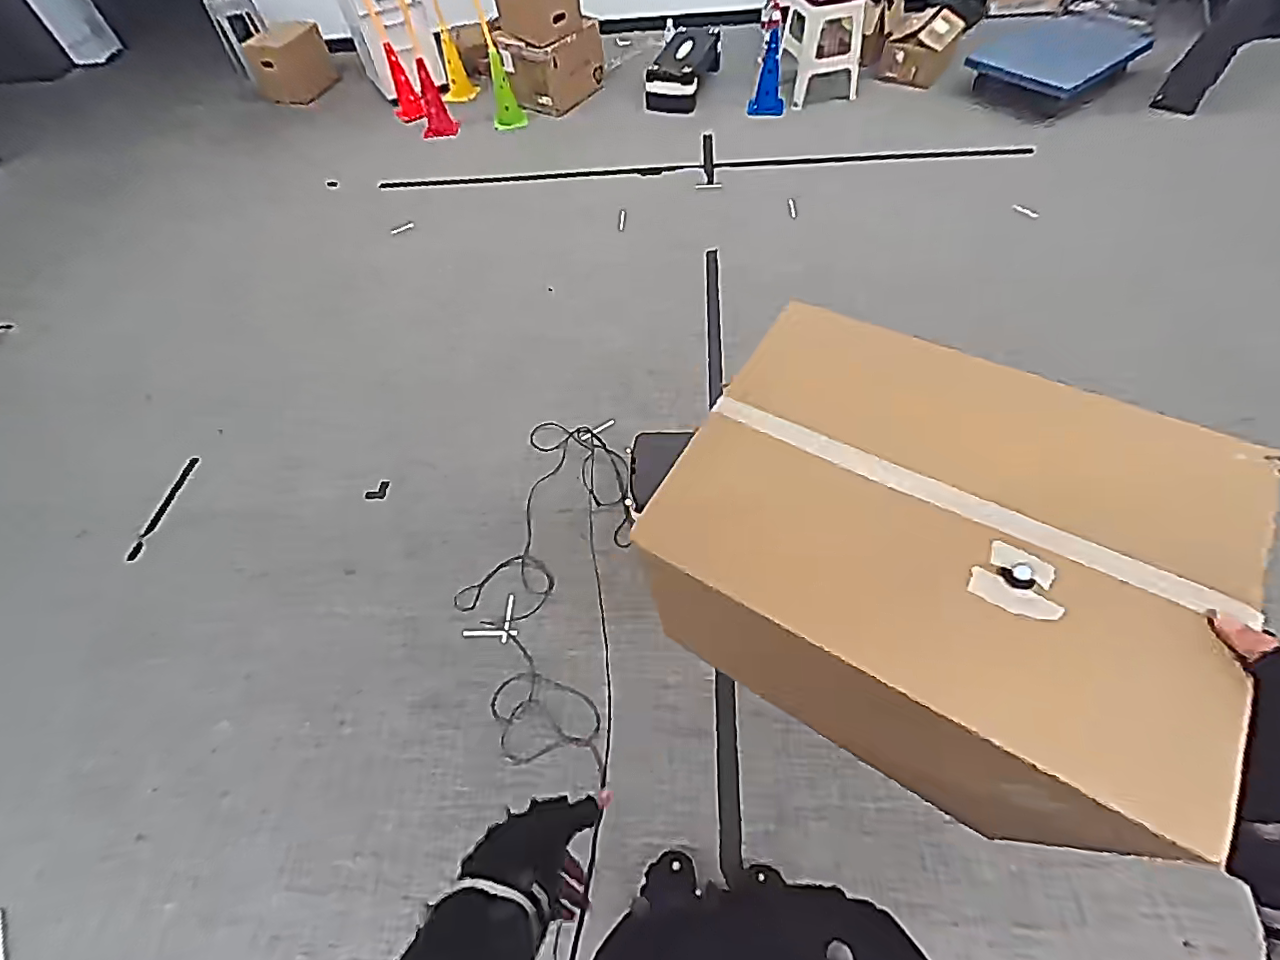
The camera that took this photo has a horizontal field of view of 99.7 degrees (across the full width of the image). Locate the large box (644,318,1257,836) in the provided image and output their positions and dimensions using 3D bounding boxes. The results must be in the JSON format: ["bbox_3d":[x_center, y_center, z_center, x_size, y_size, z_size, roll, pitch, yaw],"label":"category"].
[{"bbox_3d":[0.264,0.095,0.575,0.408,0.320,0.320,27,68,23],"label":"large box"}]
